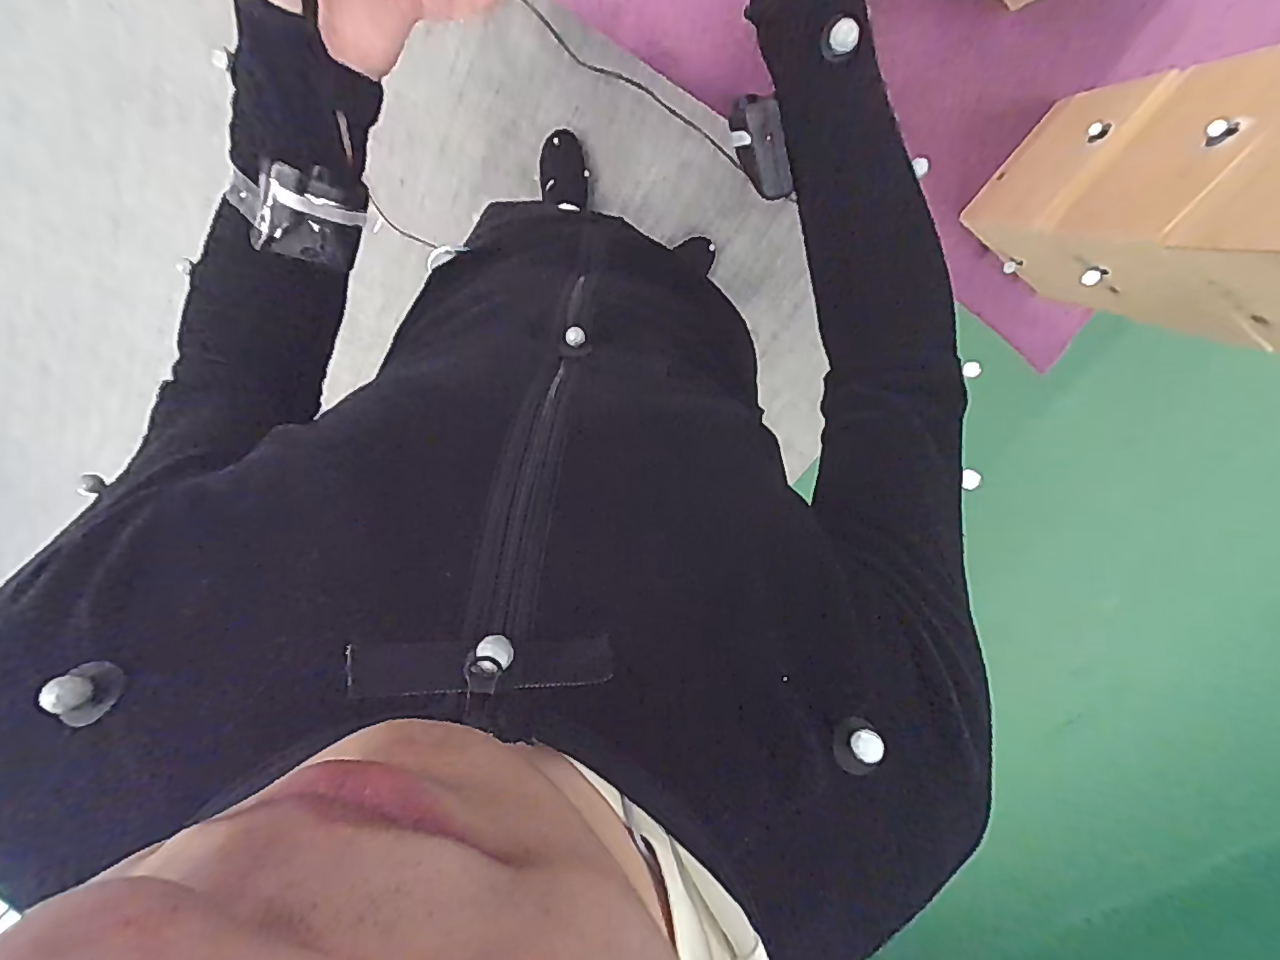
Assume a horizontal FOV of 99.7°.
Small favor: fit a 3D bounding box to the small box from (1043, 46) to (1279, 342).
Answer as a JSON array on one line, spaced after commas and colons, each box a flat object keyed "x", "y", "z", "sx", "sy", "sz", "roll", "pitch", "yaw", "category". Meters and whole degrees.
[{"x": 0.537, "y": -0.262, "z": 0.497, "sx": 0.168, "sy": 0.176, "sz": 0.179, "roll": 32, "pitch": 114, "yaw": -13, "category": "small box"}]

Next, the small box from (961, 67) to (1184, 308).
[{"x": 0.537, "y": -0.337, "z": 0.642, "sx": 0.179, "sy": 0.176, "sz": 0.168, "roll": 31, "pitch": 114, "yaw": -15, "category": "small box"}]
